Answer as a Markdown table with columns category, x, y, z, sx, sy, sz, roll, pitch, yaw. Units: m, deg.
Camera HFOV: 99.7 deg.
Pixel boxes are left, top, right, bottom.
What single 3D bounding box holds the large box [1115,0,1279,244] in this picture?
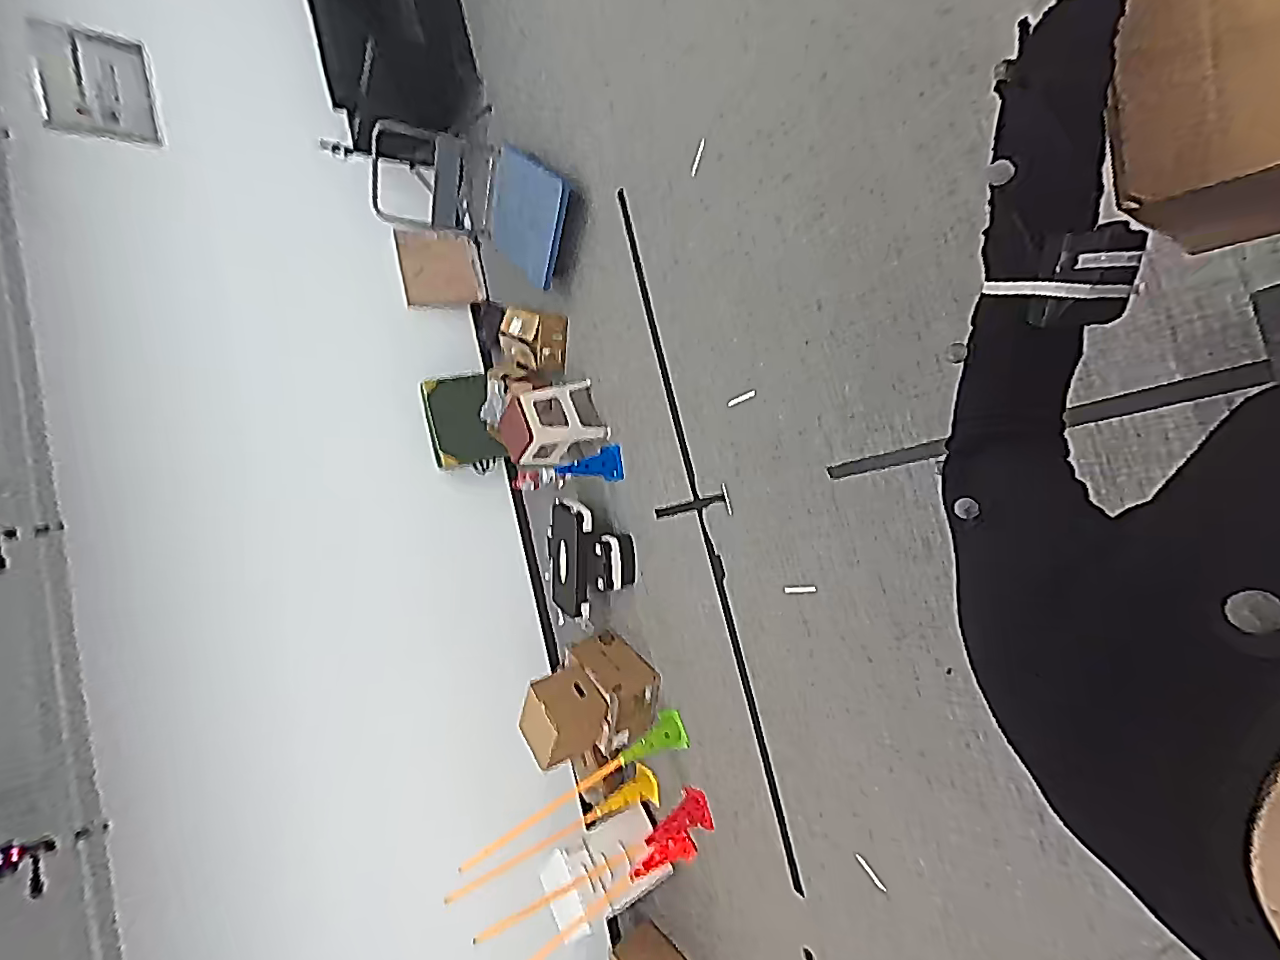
| category | x | y | z | sx | sy | sz | roll | pitch | yaw |
| --- | --- | --- | --- | --- | --- | --- | --- | --- | --- |
| large box | 0.548 | -0.374 | 0.296 | 0.408 | 0.320 | 0.320 | -3 | 97 | 51 |
